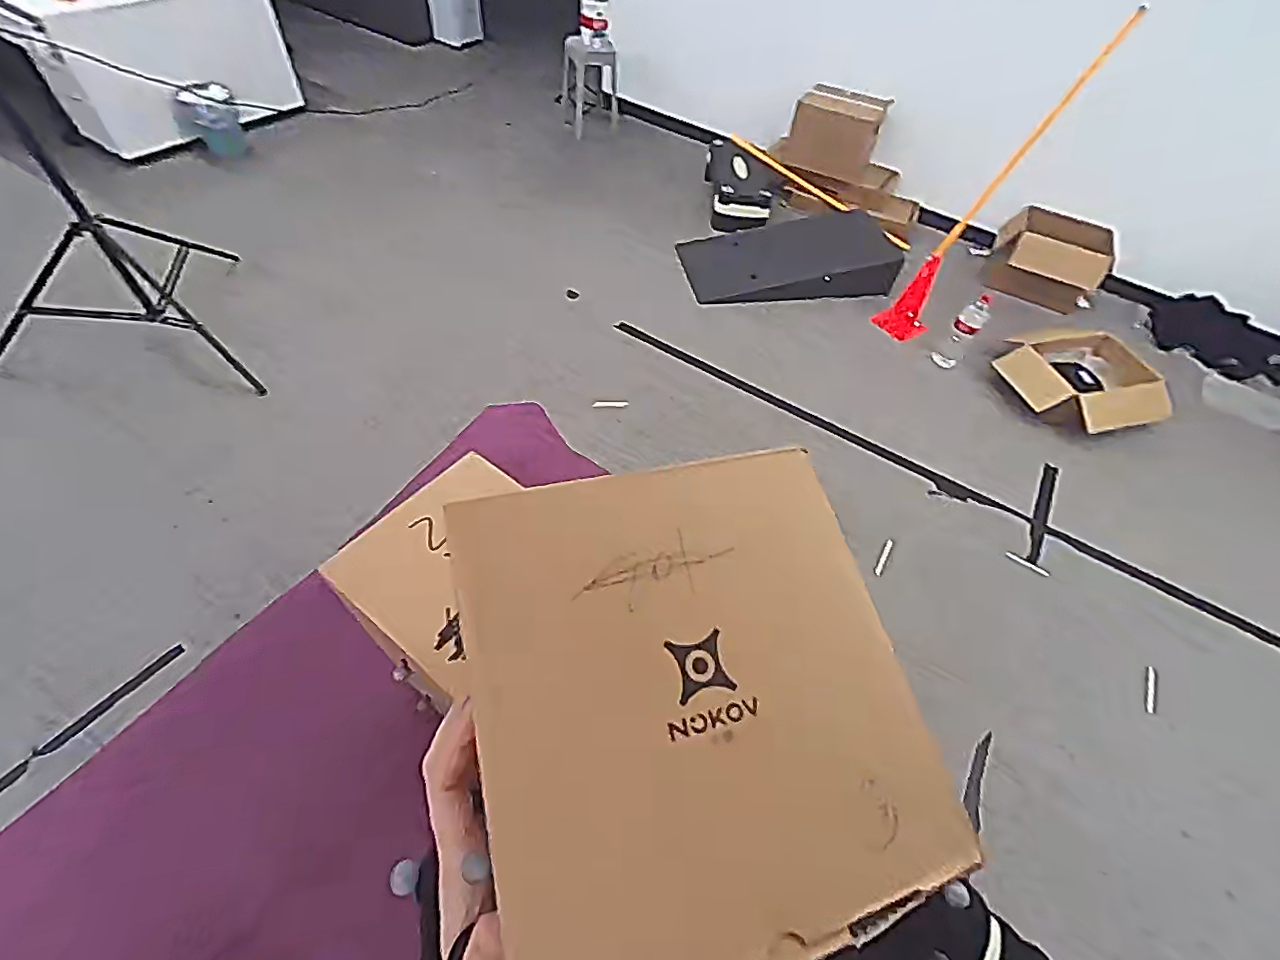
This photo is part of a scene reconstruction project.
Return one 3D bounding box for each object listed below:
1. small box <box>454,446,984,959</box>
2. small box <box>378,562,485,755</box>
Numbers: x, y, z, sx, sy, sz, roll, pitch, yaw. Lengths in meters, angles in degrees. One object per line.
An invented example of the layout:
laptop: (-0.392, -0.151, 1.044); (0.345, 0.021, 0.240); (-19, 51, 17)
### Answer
small box: (0.009, 0.107, 0.271); (0.168, 0.176, 0.179); (-9, 66, -18)
small box: (-0.168, 0.208, 0.644); (0.179, 0.176, 0.168); (35, 58, 18)
